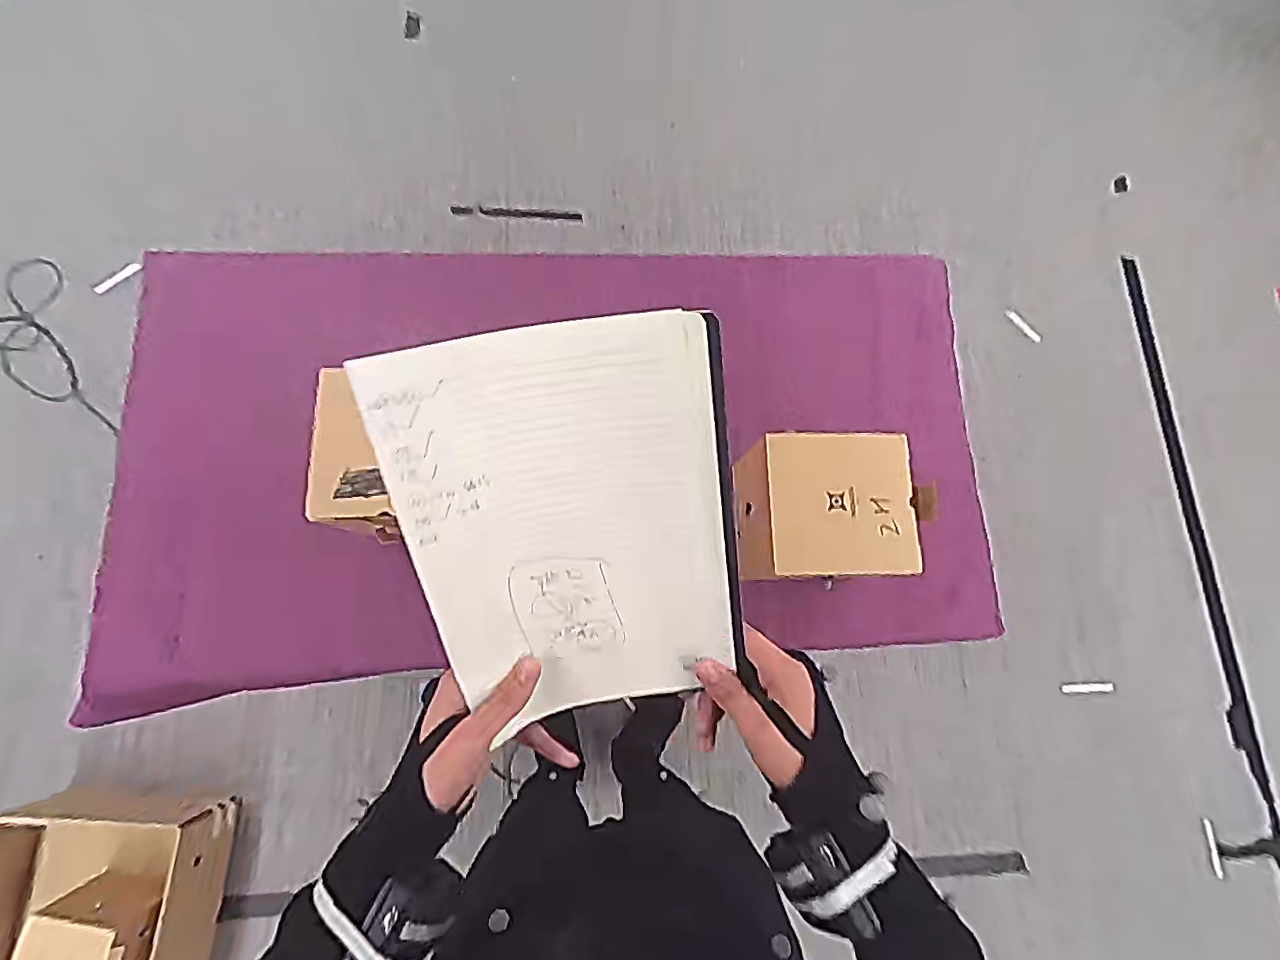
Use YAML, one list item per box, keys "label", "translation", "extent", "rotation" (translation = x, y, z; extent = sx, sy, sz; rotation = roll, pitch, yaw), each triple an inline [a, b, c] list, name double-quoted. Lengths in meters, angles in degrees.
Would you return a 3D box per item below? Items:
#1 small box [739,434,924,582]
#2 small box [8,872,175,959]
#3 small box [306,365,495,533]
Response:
- label: "small box"
  translation: [0.228, 0.045, 0.694]
  extent: [0.179, 0.176, 0.168]
  rotation: [1, 78, -4]
- label: "small box"
  translation: [-1.121, 0.943, 1.106]
  extent: [0.179, 0.176, 0.168]
  rotation: [13, 78, -2]
- label: "small box"
  translation: [-0.280, -0.027, 0.674]
  extent: [0.168, 0.176, 0.179]
  rotation: [0, 77, -4]
